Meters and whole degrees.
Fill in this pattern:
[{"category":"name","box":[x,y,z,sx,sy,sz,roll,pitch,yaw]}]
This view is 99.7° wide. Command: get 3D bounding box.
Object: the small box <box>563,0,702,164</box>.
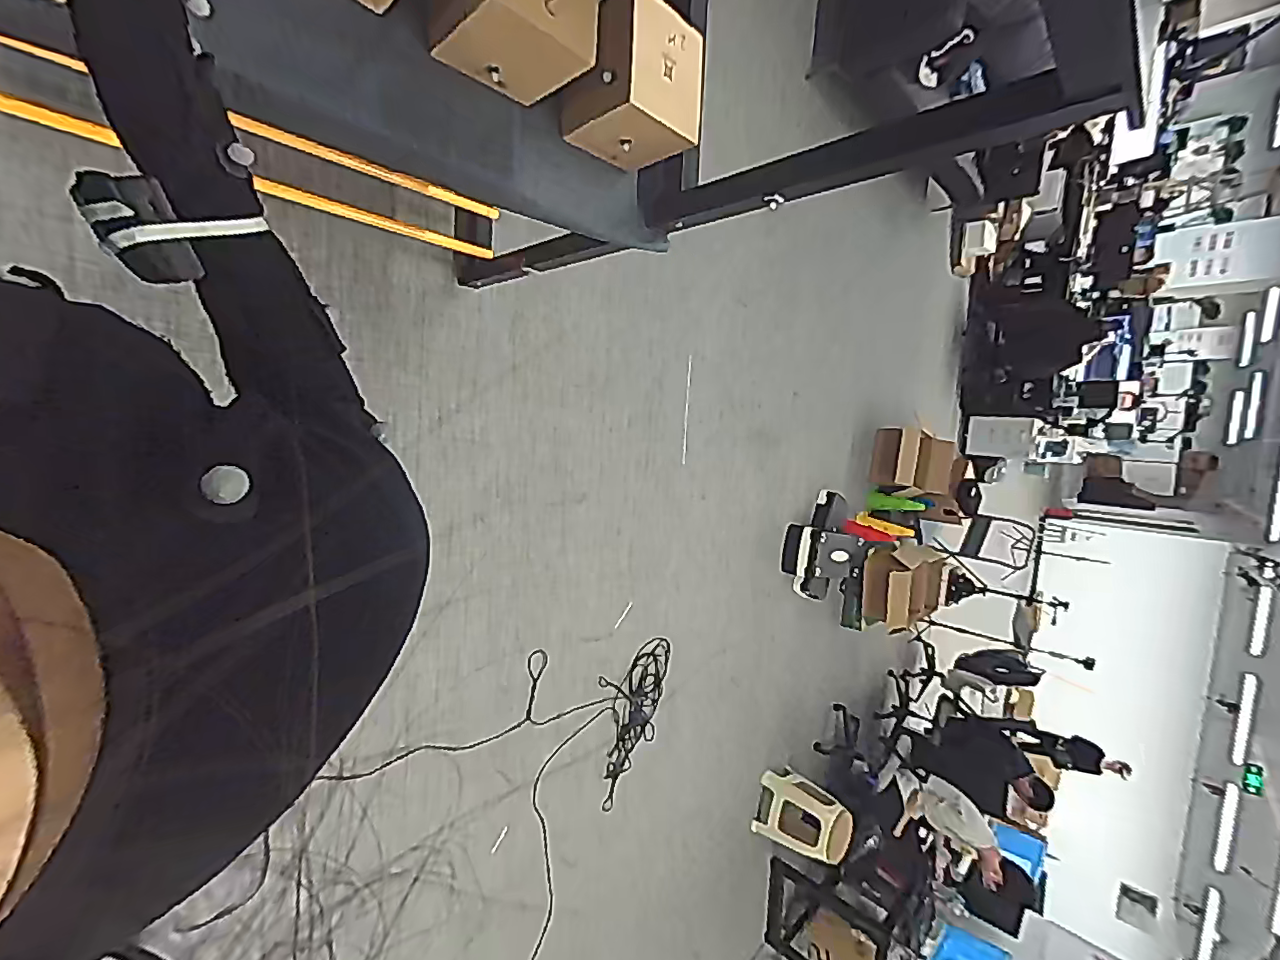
[{"category":"small box","box":[-0.016,-0.666,0.909,0.168,0.176,0.179,-5,100,-47]}]
